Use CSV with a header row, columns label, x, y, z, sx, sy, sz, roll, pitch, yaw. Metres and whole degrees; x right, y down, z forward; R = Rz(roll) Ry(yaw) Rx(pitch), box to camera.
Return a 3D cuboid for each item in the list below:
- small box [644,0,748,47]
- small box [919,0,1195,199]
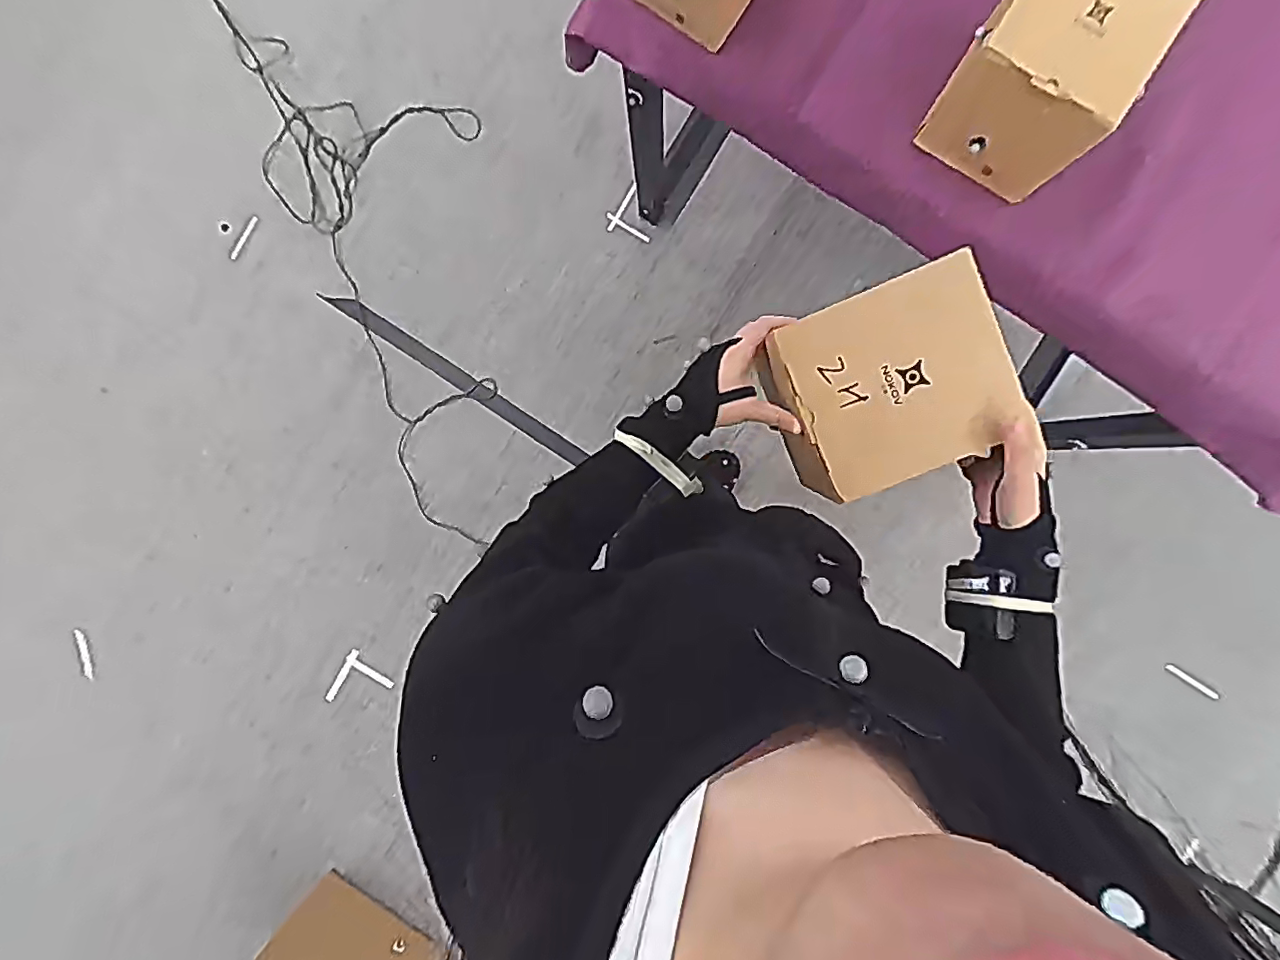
label,x,y,z,sx,sy,sz,roll,pitch,yaw
small box,0.081,-0.696,0.659,0.168,0.176,0.179,34,94,0
small box,0.479,-0.489,0.652,0.168,0.176,0.179,32,93,1
